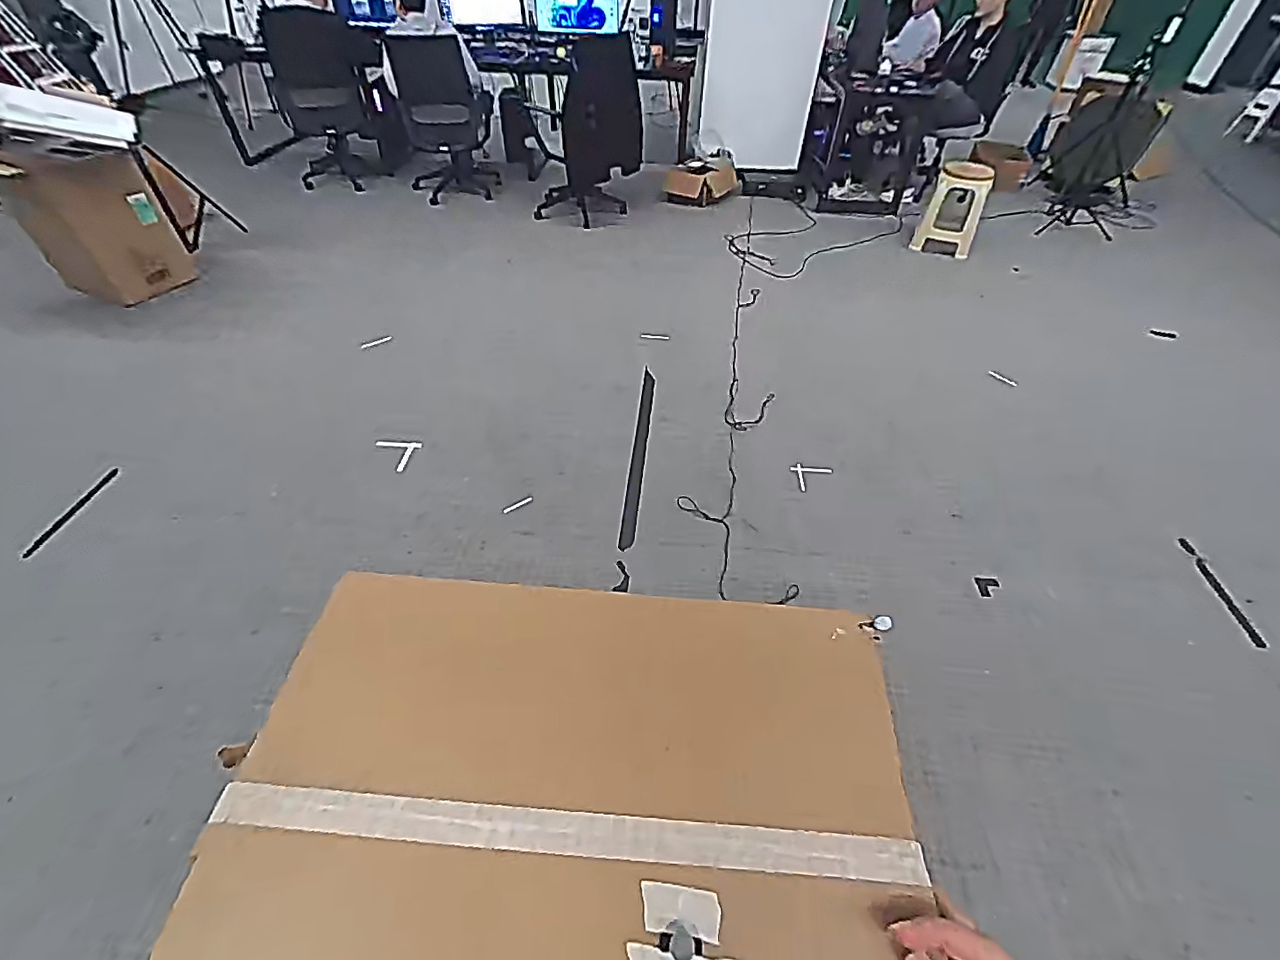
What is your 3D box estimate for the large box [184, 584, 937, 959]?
[{"bbox_3d":[-0.041,0.306,0.435,0.408,0.320,0.320,4,50,1],"label":"large box"}]
